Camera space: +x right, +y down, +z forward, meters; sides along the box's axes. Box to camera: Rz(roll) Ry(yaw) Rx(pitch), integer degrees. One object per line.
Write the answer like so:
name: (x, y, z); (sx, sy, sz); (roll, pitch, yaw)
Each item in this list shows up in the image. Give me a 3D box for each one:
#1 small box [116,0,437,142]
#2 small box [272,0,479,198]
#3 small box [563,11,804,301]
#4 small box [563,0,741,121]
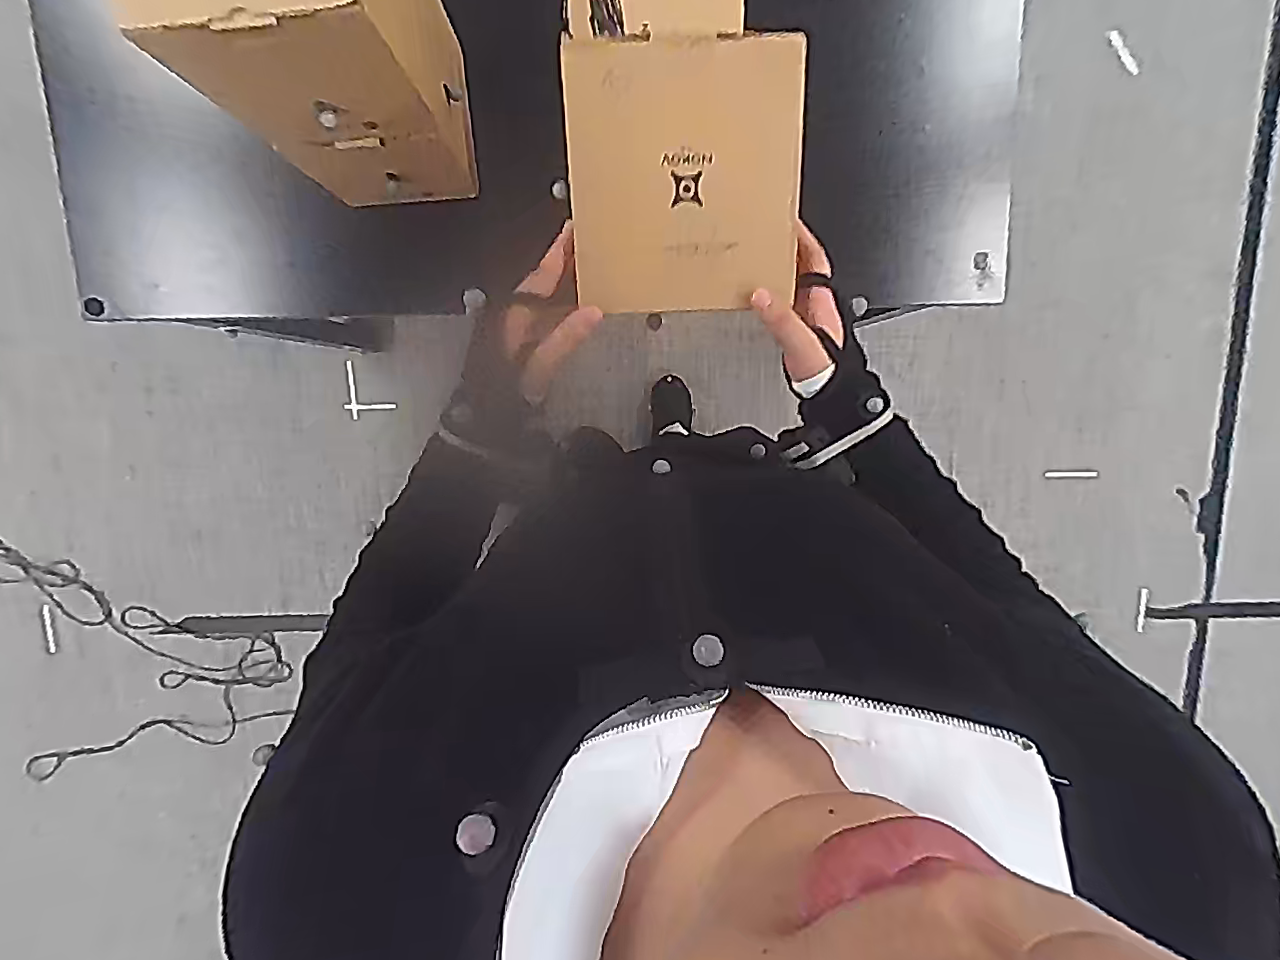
small box: (-0.282, -0.411, 0.436); (0.168, 0.176, 0.179); (-7, 99, -1)
small box: (-0.289, -0.431, 0.601); (0.168, 0.176, 0.179); (-6, 99, -1)
small box: (0.025, -0.247, 0.455); (0.168, 0.176, 0.179); (-4, 109, -3)
small box: (0.010, -0.442, 0.610); (0.179, 0.176, 0.168); (-1, 98, -3)
